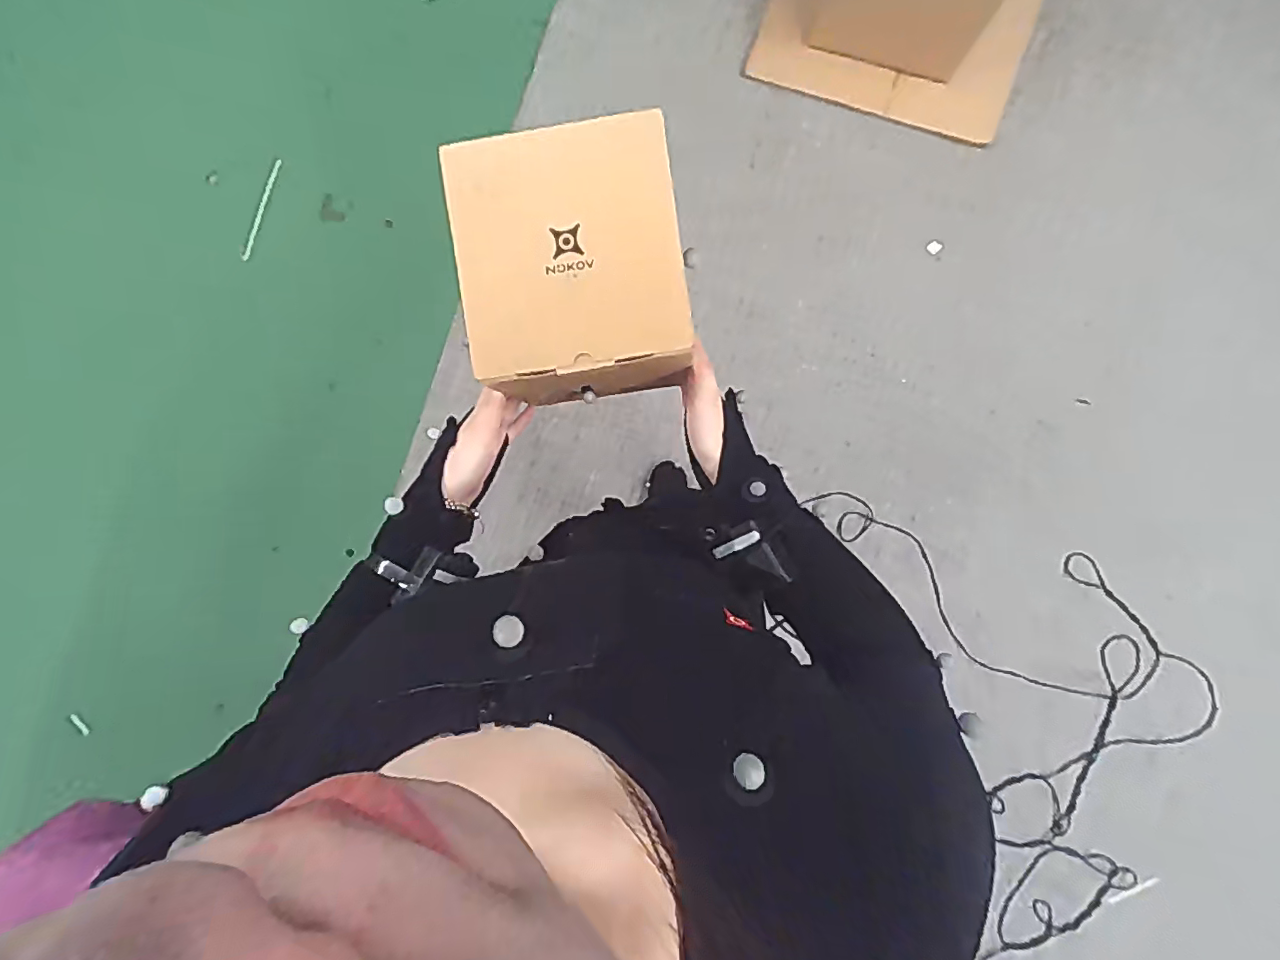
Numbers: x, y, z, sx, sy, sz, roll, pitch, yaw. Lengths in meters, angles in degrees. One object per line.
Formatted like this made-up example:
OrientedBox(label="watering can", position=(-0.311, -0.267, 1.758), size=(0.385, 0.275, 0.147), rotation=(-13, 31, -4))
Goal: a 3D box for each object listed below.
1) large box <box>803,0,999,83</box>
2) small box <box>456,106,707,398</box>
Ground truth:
OrientedBox(label="large box", position=(0.668, -1.278, 1.333), size=(0.408, 0.320, 0.320), rotation=(17, 90, 2))
OrientedBox(label="small box", position=(-0.041, -0.176, 0.471), size=(0.168, 0.176, 0.179), rotation=(-8, 93, 2))
